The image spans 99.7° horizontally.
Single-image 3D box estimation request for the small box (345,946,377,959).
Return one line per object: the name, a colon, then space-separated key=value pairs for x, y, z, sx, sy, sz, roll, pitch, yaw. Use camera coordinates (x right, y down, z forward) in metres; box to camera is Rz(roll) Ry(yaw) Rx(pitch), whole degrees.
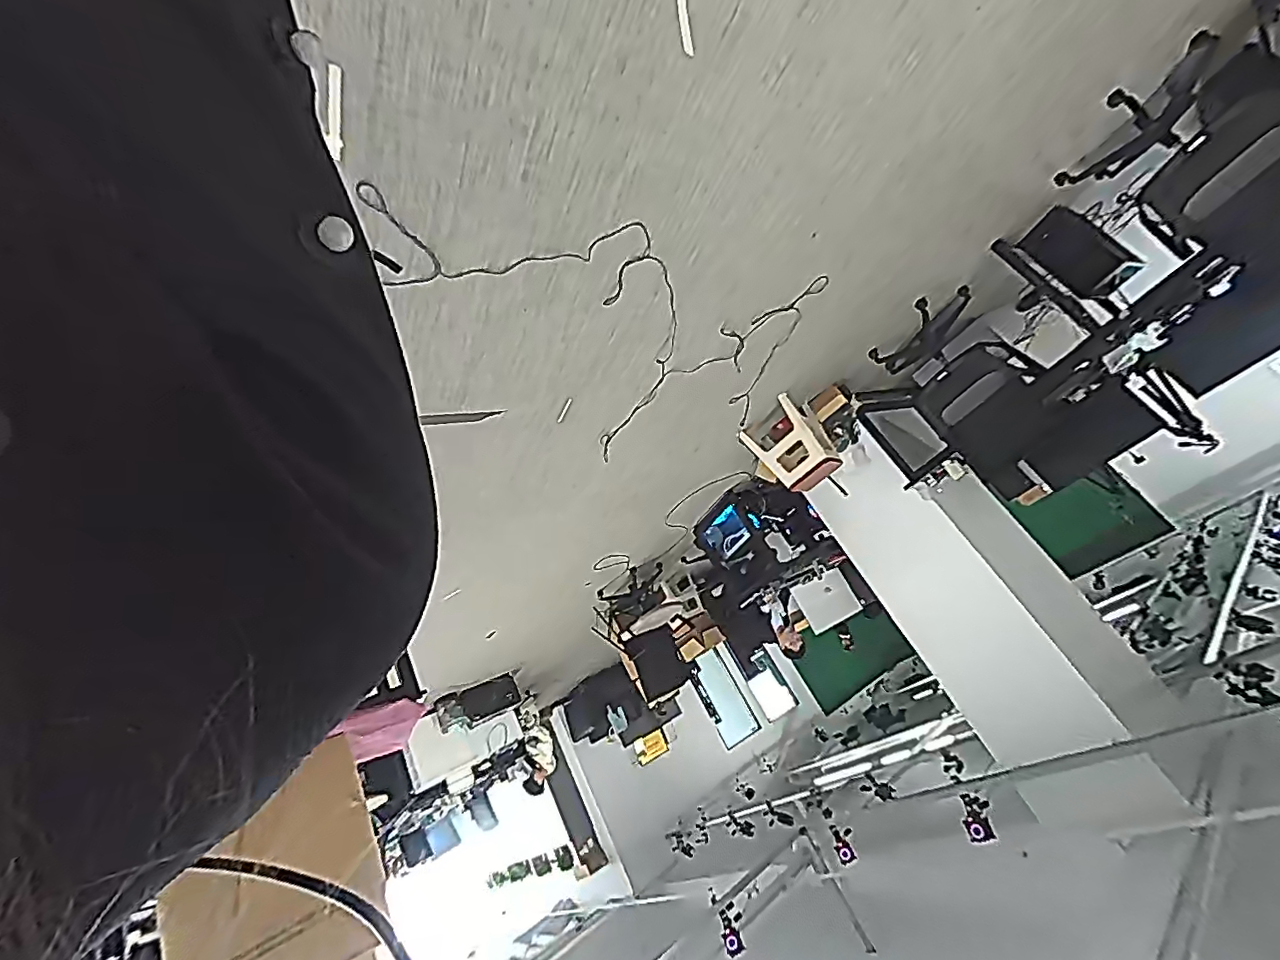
small box: x=-0.901 y=1.592 z=1.676 sx=0.168 sy=0.176 sz=0.179 roll=-9 pitch=149 yaw=-39
